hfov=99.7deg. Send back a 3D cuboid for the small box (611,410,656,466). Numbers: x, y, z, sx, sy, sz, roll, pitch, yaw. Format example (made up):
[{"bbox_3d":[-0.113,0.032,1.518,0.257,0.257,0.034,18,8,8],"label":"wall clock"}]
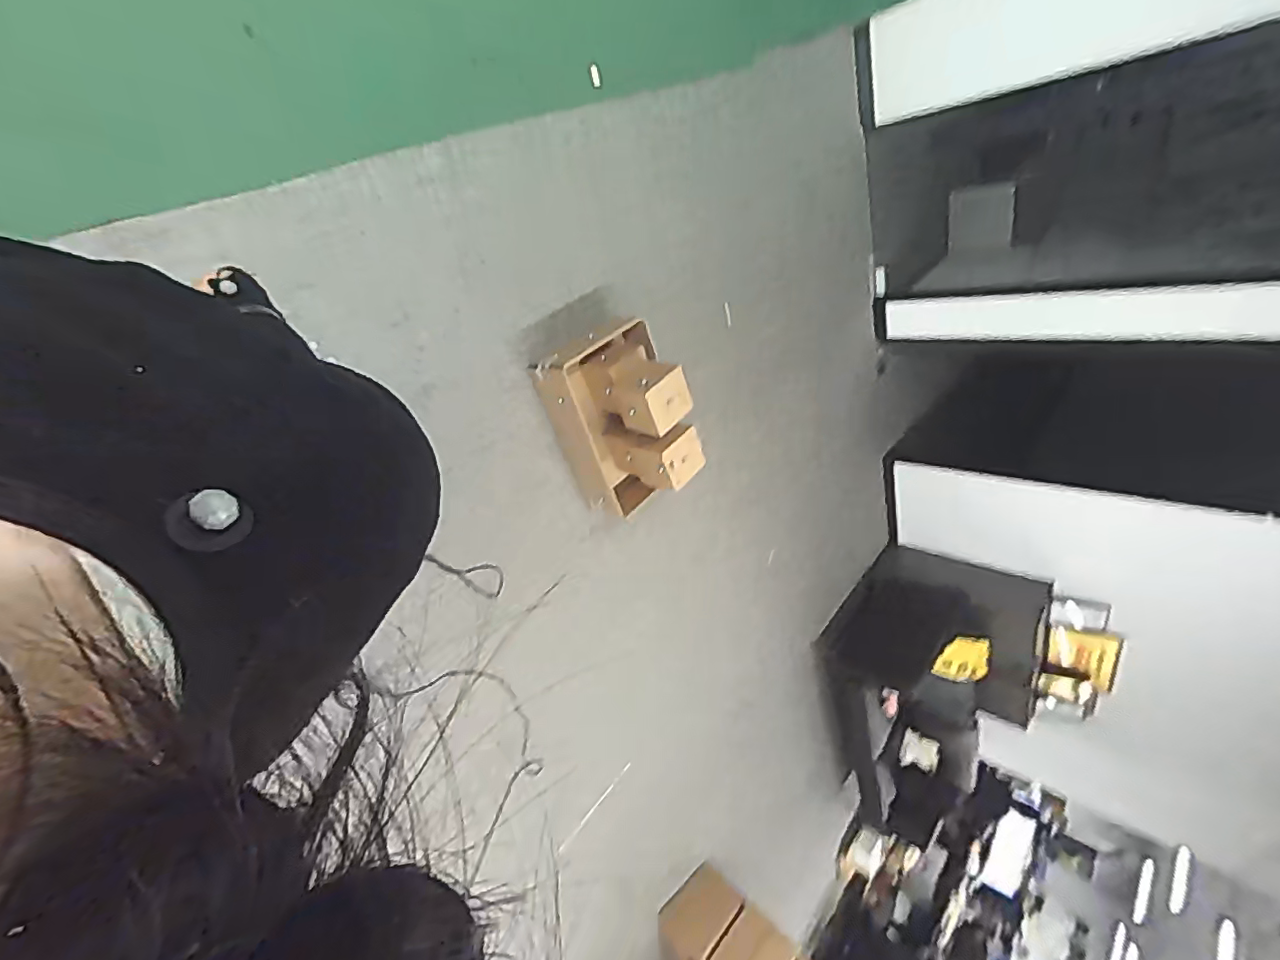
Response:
[{"bbox_3d":[0.020,-0.163,1.995,0.168,0.176,0.179,-45,129,-25],"label":"small box"}]

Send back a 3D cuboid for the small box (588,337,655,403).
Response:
[{"bbox_3d":[-0.052,-0.379,1.861,0.168,0.176,0.179,-42,130,-26],"label":"small box"}]

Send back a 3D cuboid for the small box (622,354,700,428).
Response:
[{"bbox_3d":[0.062,-0.294,1.765,0.179,0.176,0.168,-43,130,-25],"label":"small box"}]

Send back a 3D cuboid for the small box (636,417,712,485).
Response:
[{"bbox_3d":[0.118,-0.110,1.872,0.179,0.176,0.168,-42,126,-28],"label":"small box"}]
